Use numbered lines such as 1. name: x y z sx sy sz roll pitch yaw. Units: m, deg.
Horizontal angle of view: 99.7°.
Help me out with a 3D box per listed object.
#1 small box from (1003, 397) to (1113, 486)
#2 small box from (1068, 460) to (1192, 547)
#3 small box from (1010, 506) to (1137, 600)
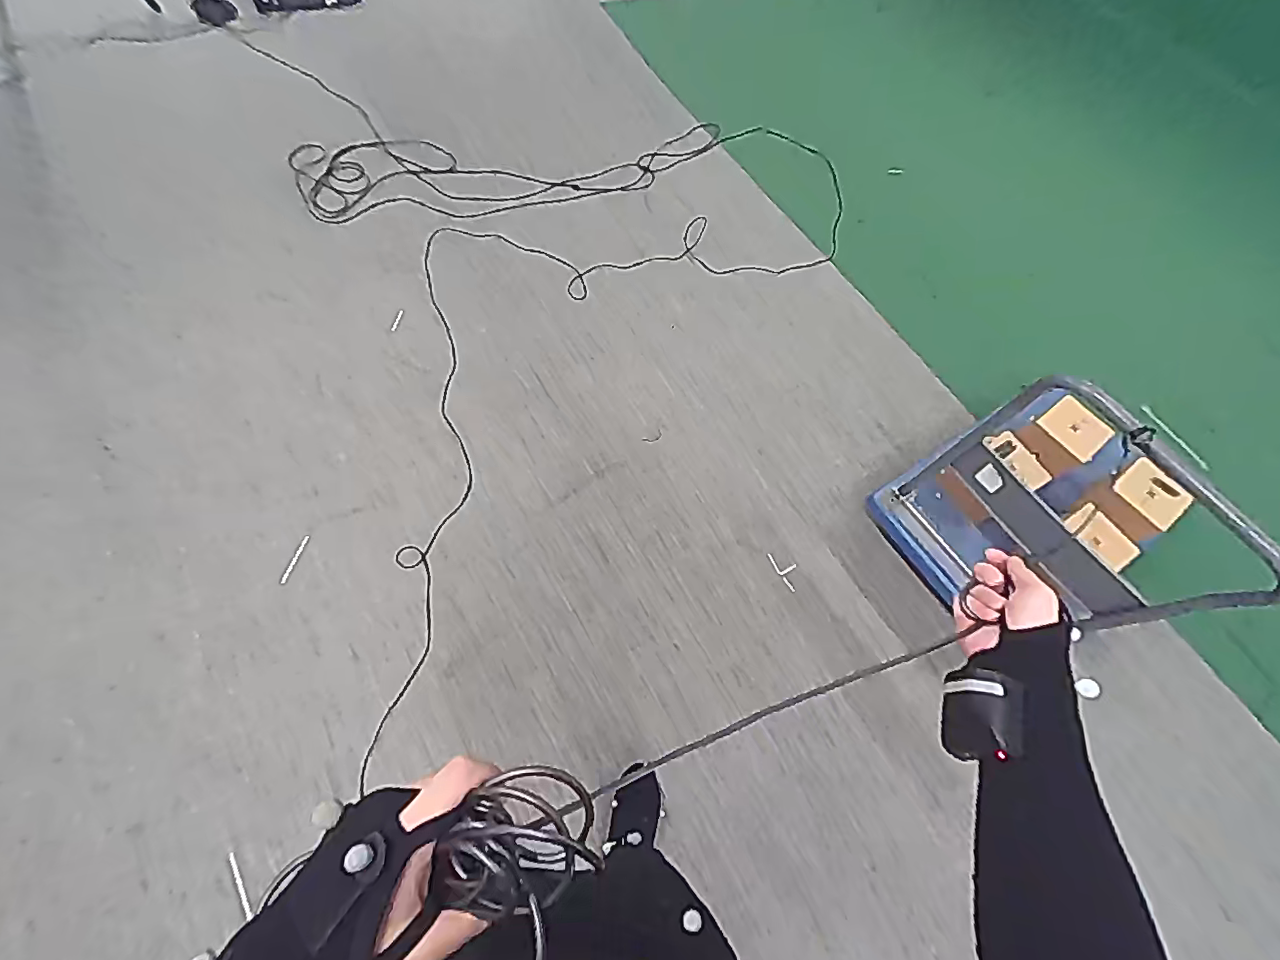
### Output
1. small box: 1.241 -0.109 1.625 0.179 0.176 0.168 -32 72 -19
2. small box: 1.392 0.078 1.549 0.179 0.176 0.168 -33 71 -18
3. small box: 1.167 0.202 1.469 0.179 0.176 0.168 -28 70 -16
